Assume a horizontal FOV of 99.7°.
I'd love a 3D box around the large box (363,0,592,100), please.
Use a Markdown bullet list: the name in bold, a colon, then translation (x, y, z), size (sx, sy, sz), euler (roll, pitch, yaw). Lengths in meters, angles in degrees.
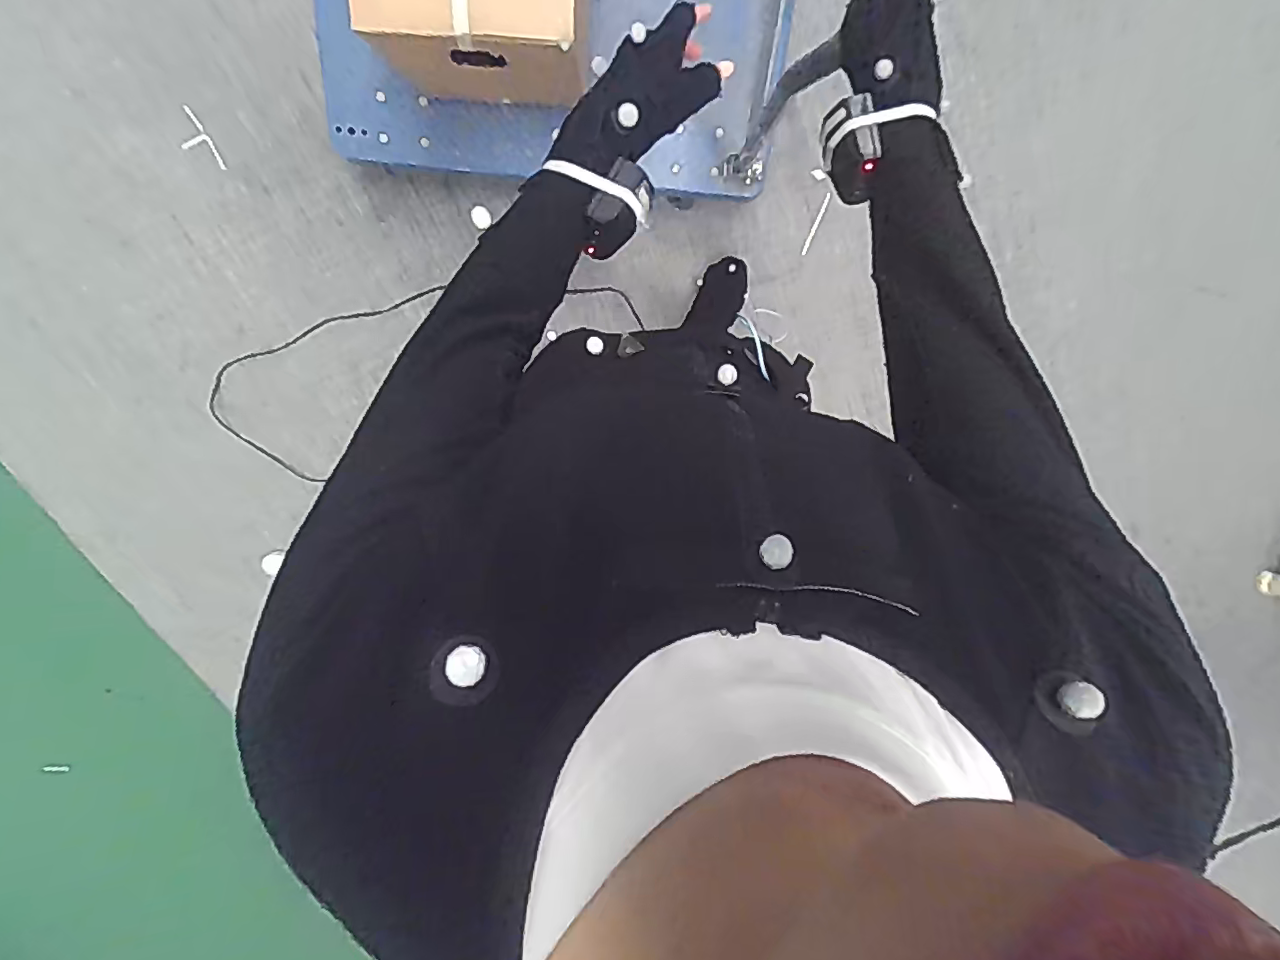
- **large box**: translation (-0.234, -0.874, 0.836), size (0.320, 0.320, 0.408), euler (2, 111, -2)
